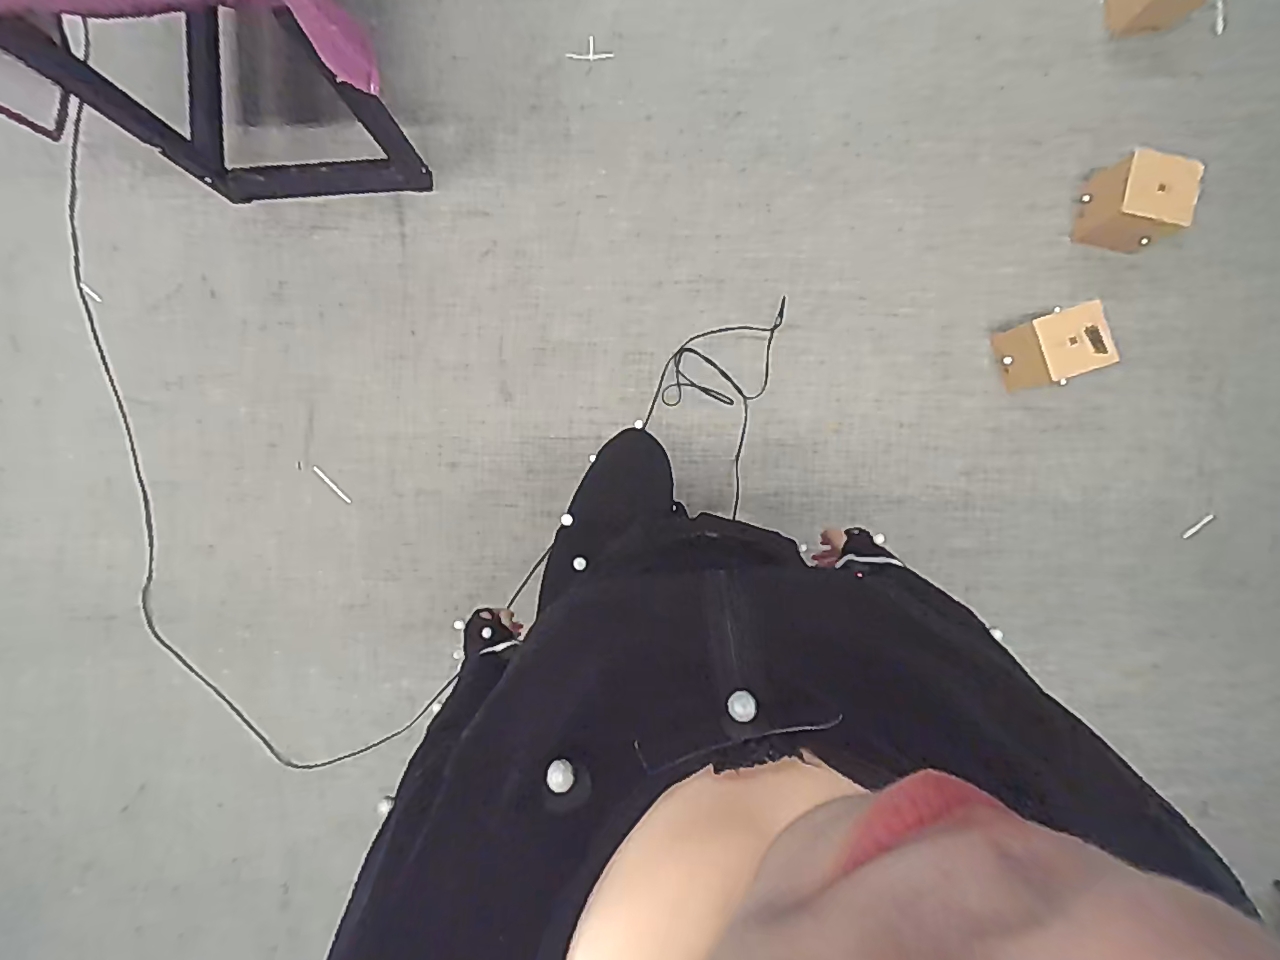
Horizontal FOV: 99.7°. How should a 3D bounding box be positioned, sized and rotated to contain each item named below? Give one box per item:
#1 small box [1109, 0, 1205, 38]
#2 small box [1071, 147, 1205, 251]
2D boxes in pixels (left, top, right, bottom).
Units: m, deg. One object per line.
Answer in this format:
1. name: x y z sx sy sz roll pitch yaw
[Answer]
1. small box: 1.375 -1.317 1.416 0.168 0.176 0.179 -6 89 1
2. small box: 1.291 -0.723 1.413 0.179 0.176 0.168 14 89 1
